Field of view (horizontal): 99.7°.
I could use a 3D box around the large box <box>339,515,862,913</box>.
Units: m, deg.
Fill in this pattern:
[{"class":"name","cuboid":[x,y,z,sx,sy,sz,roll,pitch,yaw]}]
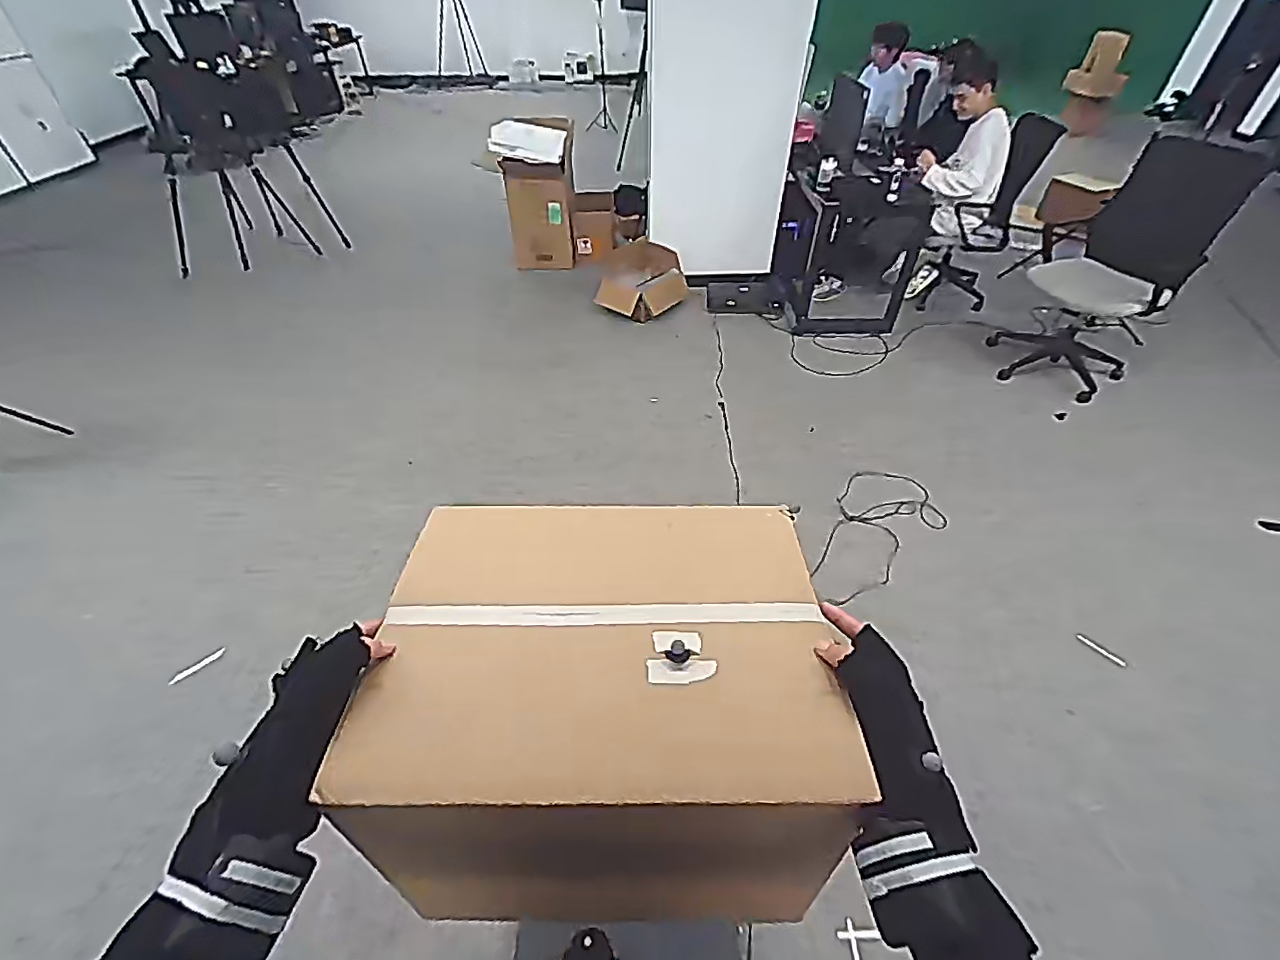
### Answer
[{"class":"large box","cuboid":[-0.032,0.253,0.610,0.408,0.320,0.320,0,39,0]}]
